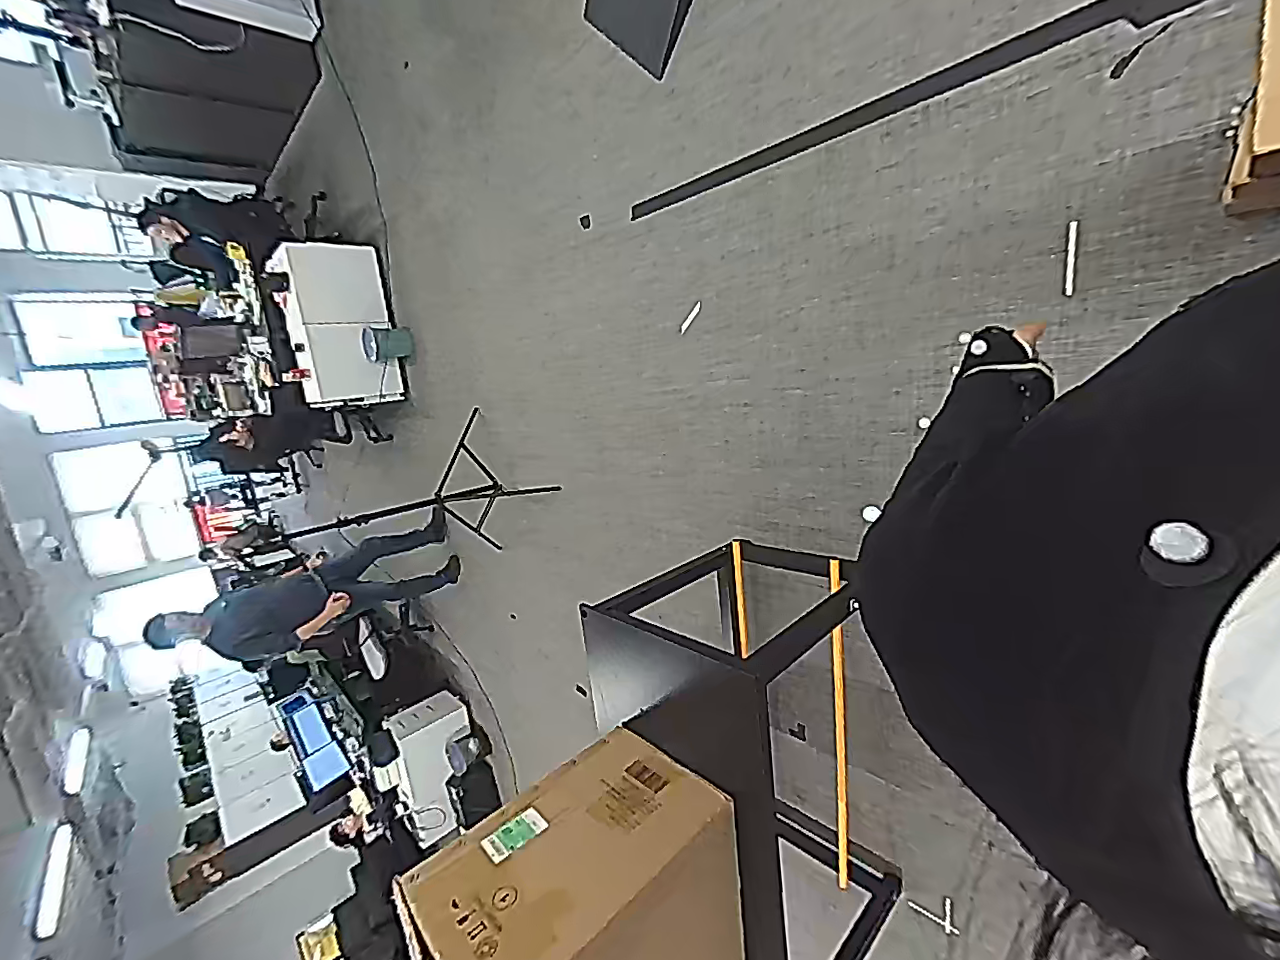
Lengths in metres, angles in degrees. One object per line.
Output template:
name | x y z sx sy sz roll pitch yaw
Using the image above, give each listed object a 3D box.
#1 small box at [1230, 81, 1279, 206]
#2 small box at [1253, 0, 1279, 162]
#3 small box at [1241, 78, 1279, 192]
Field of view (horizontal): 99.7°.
small box | 1.066 -0.539 0.843 0.179 0.176 0.168 11 112 45
small box | 0.719 -0.424 0.514 0.168 0.176 0.179 6 109 47
small box | 0.835 -0.454 0.627 0.168 0.176 0.179 12 113 46
